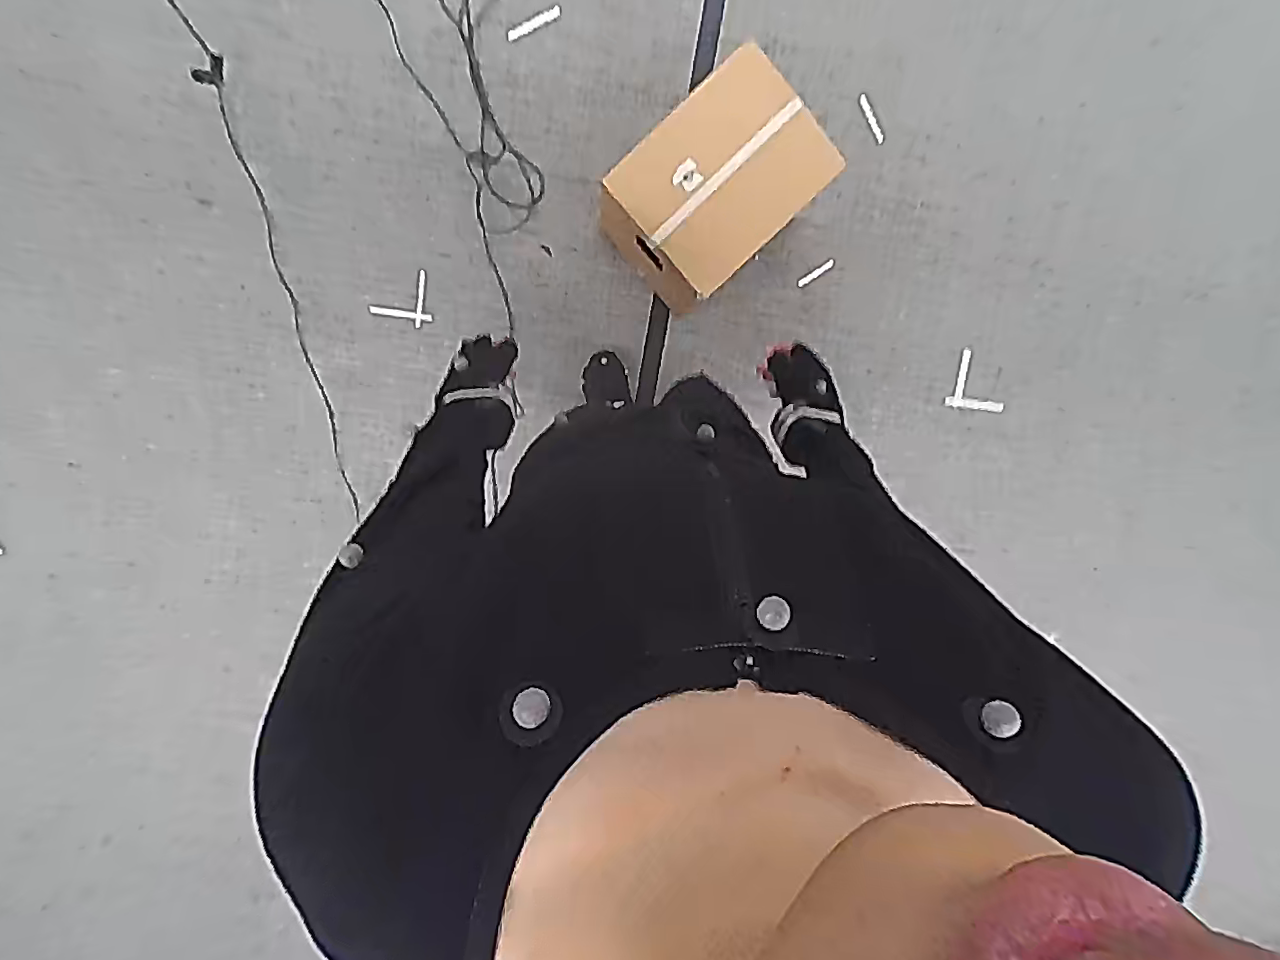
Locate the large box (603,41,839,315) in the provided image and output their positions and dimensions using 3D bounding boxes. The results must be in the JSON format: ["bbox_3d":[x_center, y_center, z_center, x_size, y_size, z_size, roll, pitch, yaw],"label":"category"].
[{"bbox_3d":[0.159,-0.648,1.244,0.408,0.320,0.320,-43,99,4],"label":"large box"}]
